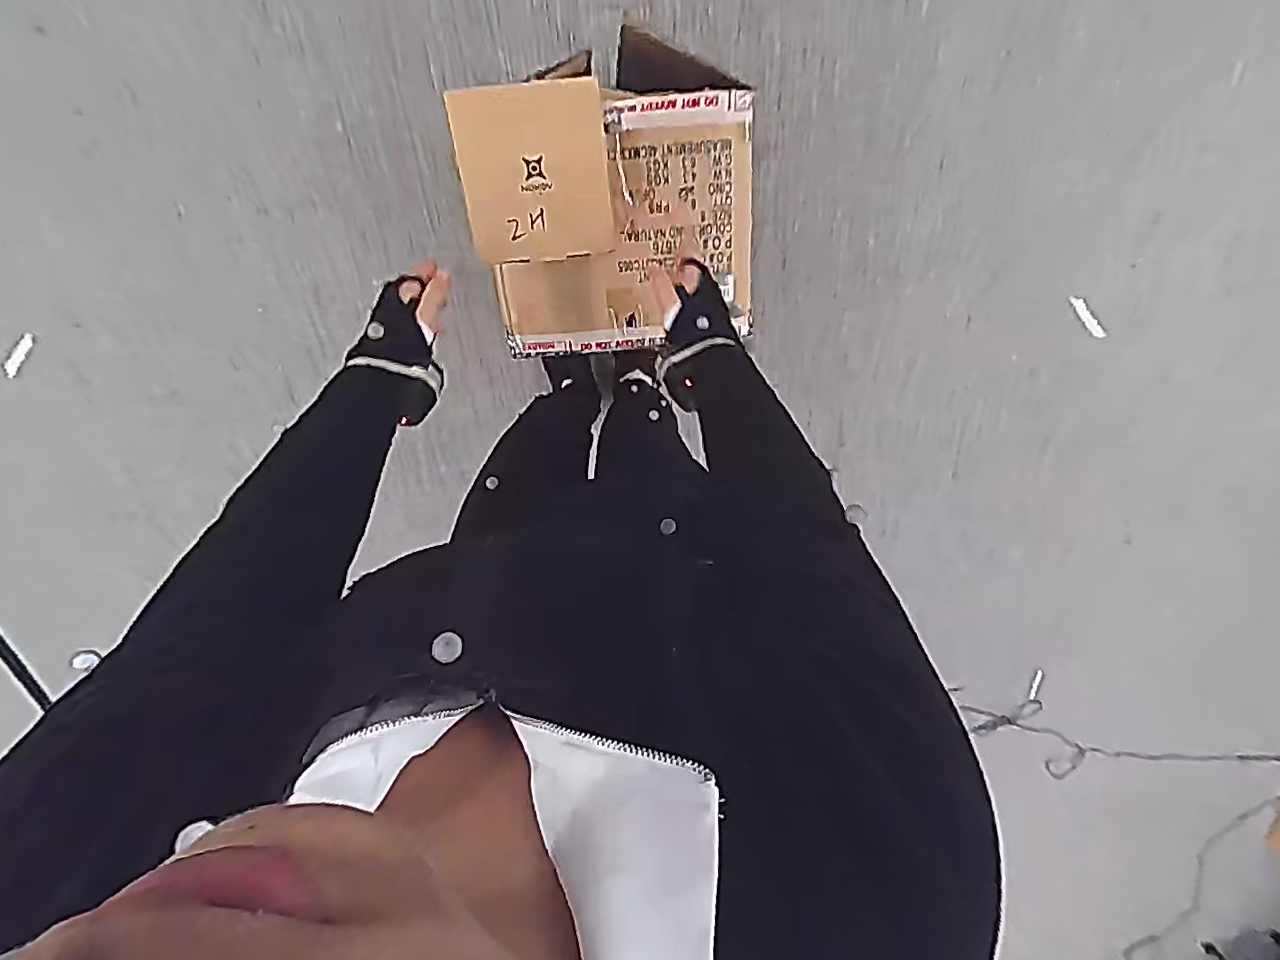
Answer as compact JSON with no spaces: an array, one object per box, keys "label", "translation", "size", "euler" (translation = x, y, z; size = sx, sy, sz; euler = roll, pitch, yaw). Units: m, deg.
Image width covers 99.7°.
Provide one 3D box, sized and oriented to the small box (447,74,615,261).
[{"label":"small box","translation":[-0.122,-0.382,0.677],"size":[0.168,0.176,0.179],"euler":[-5,119,0]}]
